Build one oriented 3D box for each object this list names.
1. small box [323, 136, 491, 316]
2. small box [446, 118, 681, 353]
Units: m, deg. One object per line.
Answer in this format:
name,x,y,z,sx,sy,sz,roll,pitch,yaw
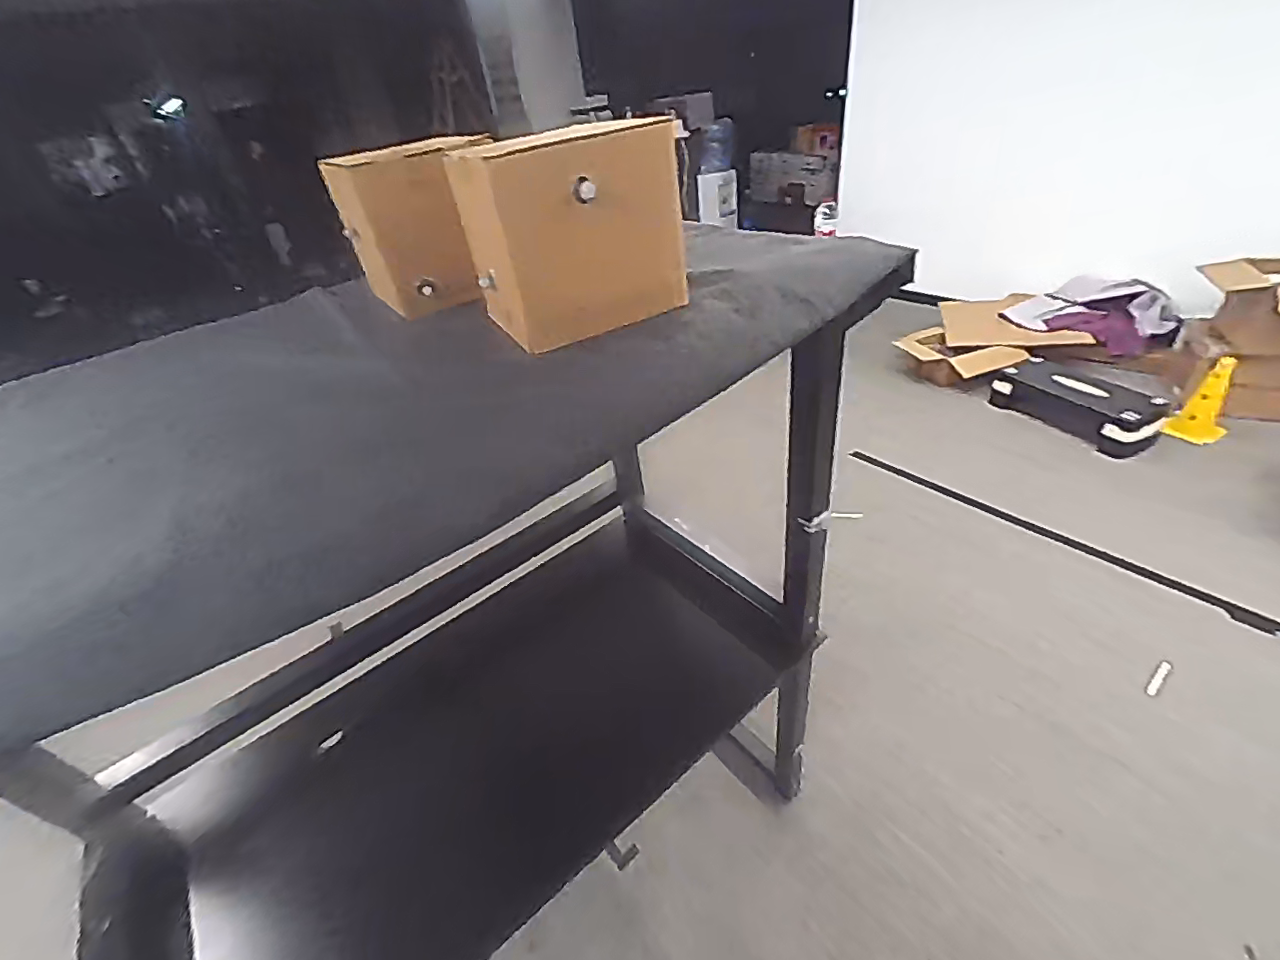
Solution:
small box,-0.271,-0.326,0.694,0.168,0.176,0.179,-29,40,-23
small box,-0.070,-0.252,0.549,0.179,0.176,0.168,-24,38,-17
